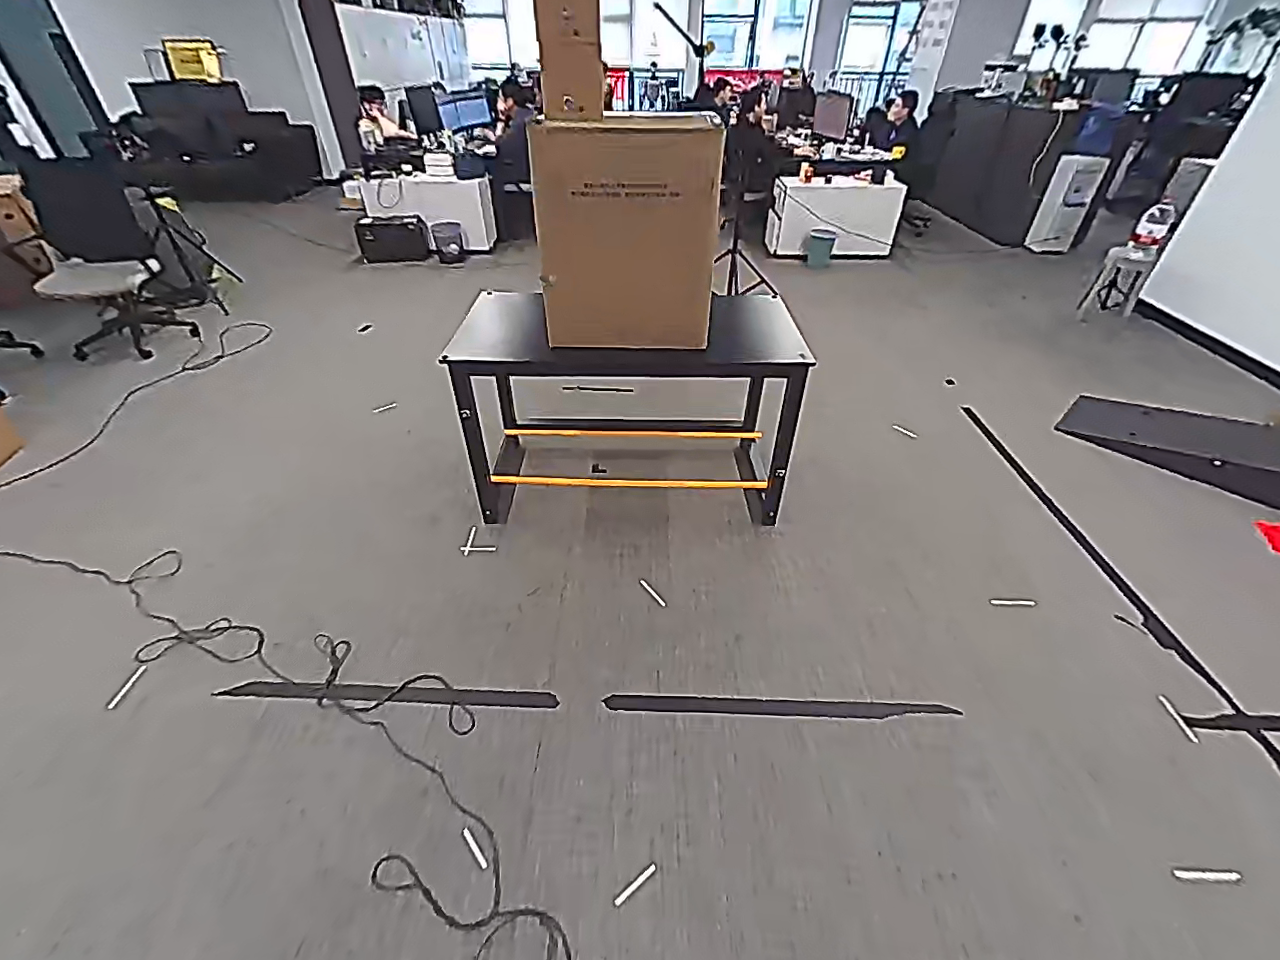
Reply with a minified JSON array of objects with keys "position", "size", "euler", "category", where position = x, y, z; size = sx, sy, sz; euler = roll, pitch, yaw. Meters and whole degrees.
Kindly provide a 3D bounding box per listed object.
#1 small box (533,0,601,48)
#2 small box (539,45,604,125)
[{"position":[-0.187,-1.225,1.394],"size":[0.168,0.176,0.179],"euler":[-2,40,-2],"category":"small box"},{"position":[-0.186,-1.098,1.501],"size":[0.168,0.176,0.179],"euler":[-3,41,-4],"category":"small box"}]
